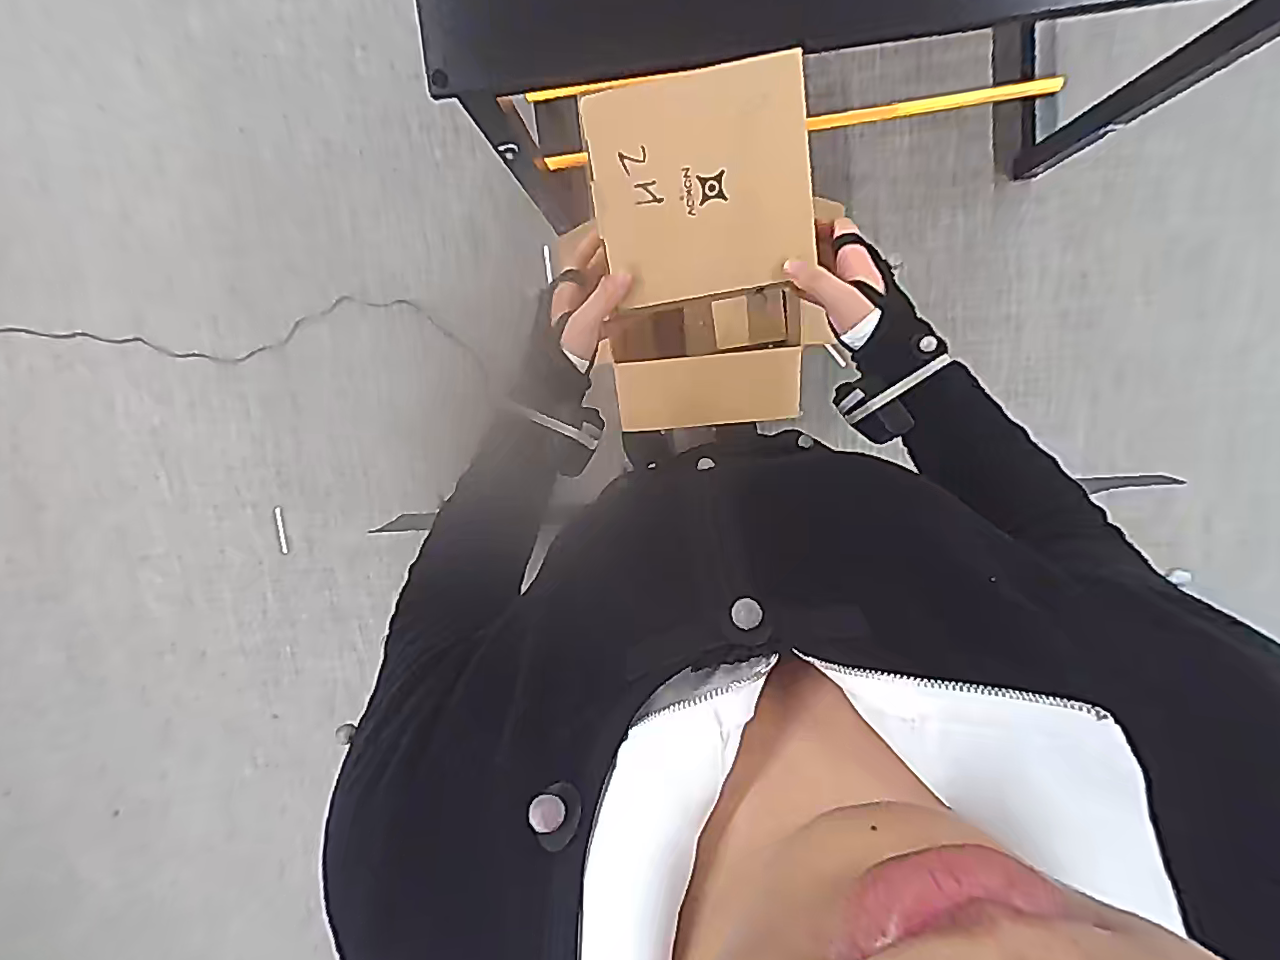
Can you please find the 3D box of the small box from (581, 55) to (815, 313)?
[{"bbox_3d":[0.054,-0.258,0.517,0.179,0.176,0.168,-8,104,6],"label":"small box"}]
